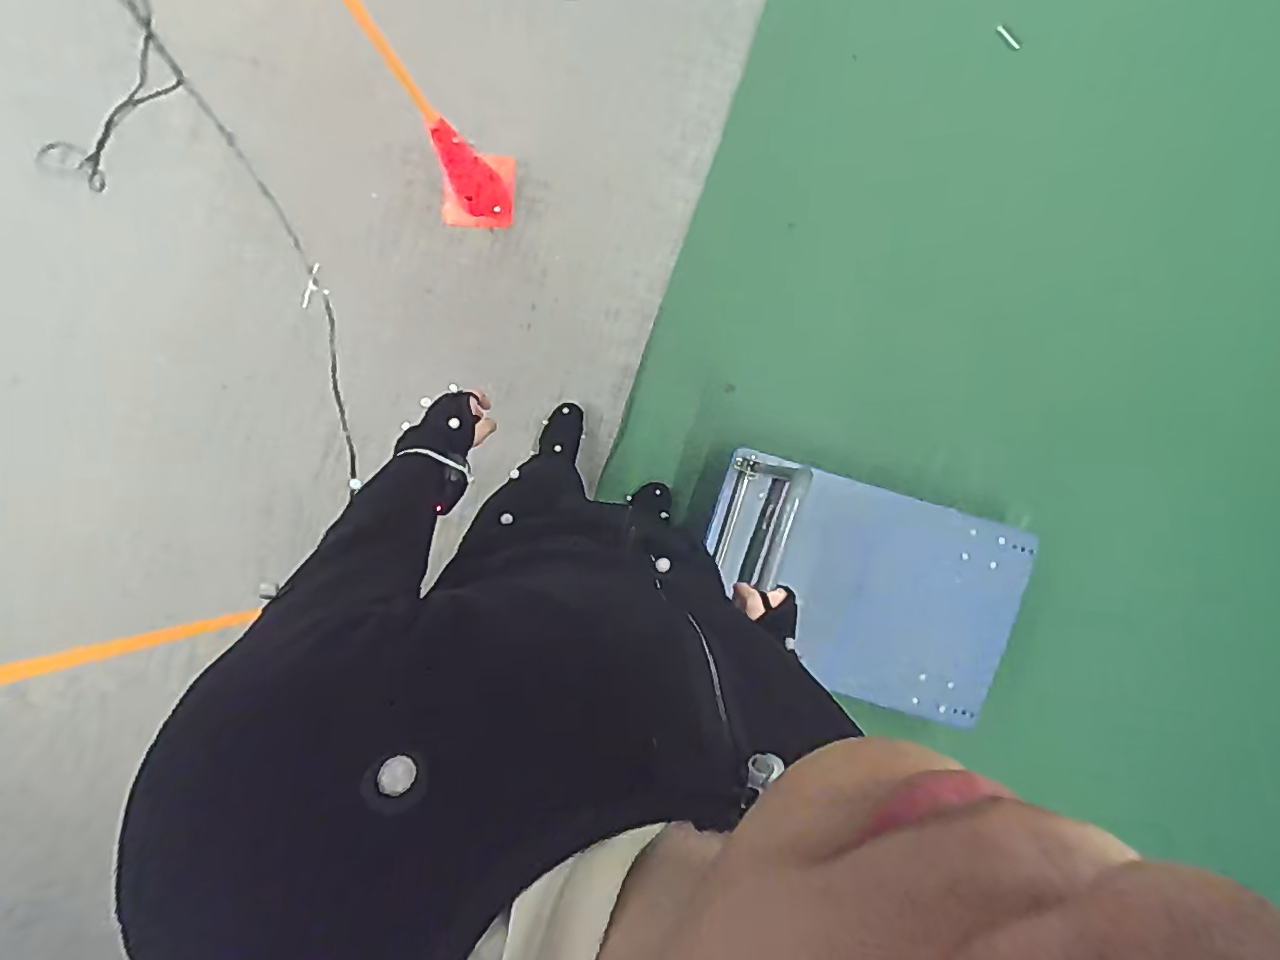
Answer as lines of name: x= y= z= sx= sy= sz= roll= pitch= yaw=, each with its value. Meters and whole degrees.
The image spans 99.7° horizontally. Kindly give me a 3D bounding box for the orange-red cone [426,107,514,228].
orange-red cone: x=-0.461 y=-0.822 z=1.375 sx=0.198 sy=0.360 sz=0.199 roll=5 pitch=93 yaw=-1
